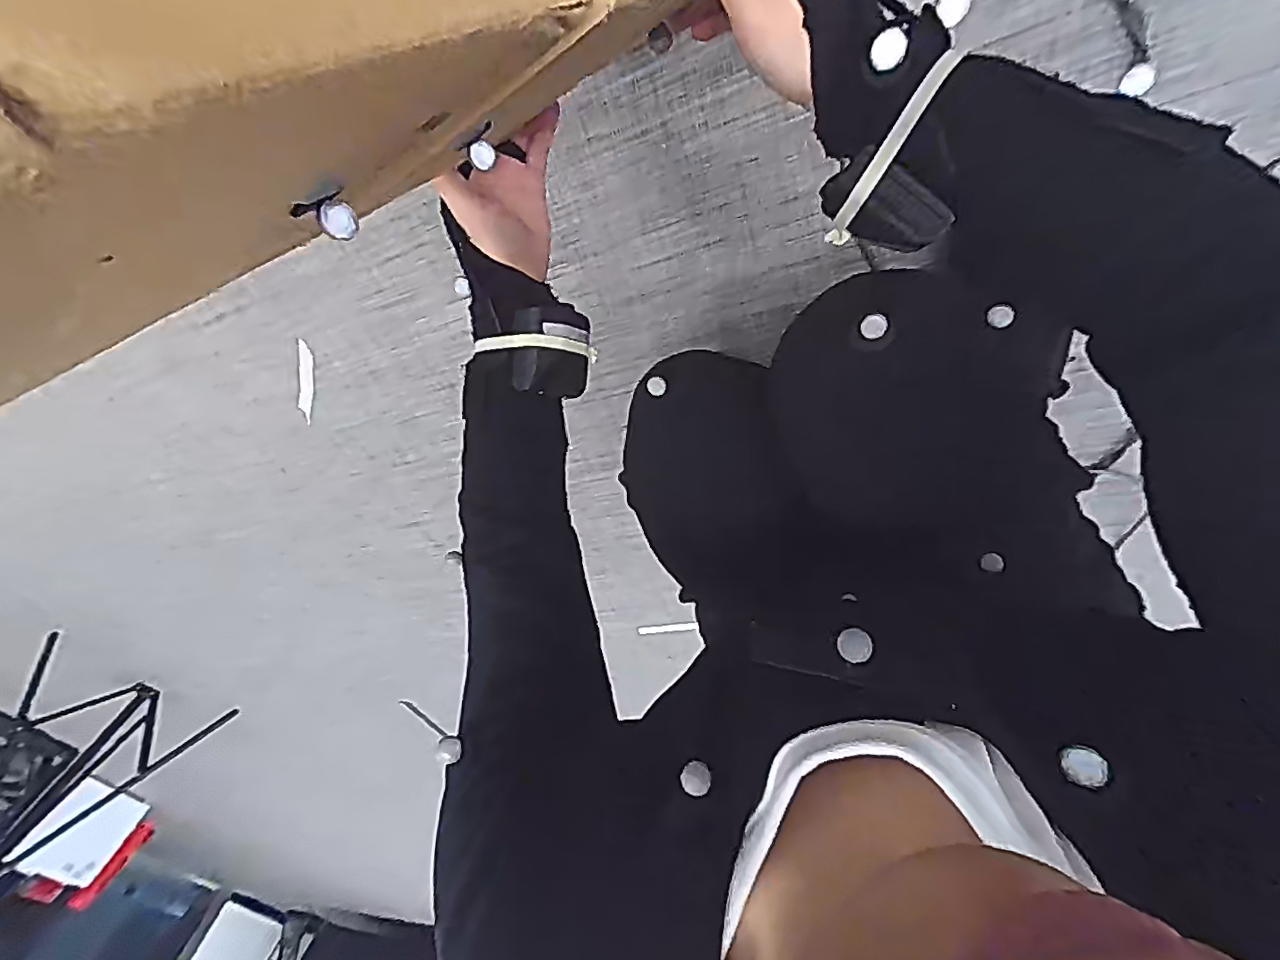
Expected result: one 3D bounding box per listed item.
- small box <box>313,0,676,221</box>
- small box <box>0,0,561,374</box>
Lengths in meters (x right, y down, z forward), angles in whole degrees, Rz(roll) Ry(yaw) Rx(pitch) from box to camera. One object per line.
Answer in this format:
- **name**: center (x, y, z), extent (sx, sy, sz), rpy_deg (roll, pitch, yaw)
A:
- **small box**: center (-0.091, -0.243, 0.217), extent (0.179, 0.176, 0.168), rpy_deg (-12, 128, 32)
- **small box**: center (-0.145, -0.138, 0.105), extent (0.168, 0.176, 0.179), rpy_deg (-13, 128, 34)
